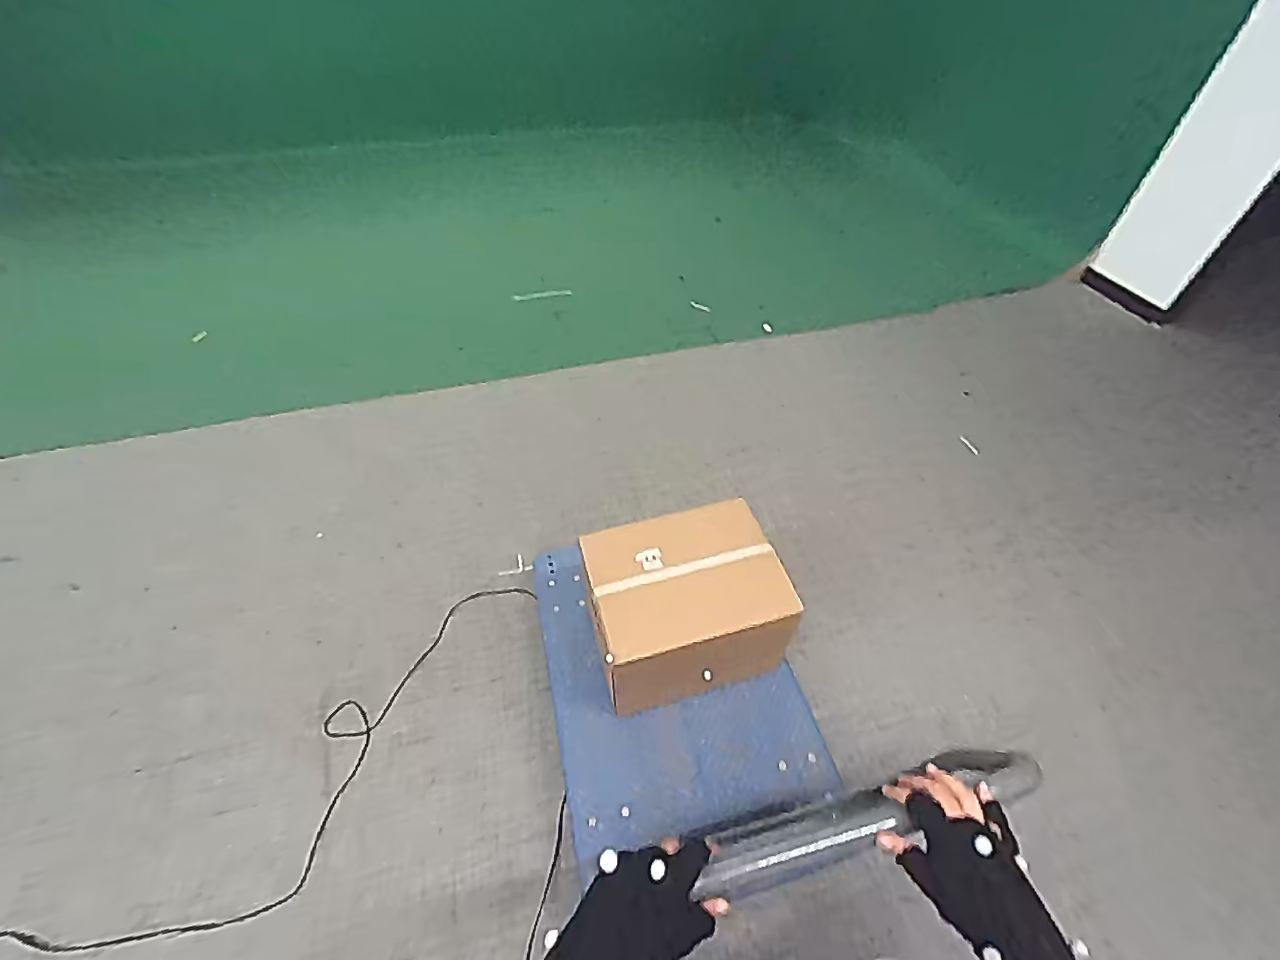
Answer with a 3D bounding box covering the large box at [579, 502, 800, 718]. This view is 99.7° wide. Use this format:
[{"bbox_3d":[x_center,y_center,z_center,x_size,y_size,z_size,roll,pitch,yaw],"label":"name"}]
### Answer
[{"bbox_3d":[0.099,0.303,1.264,0.408,0.320,0.320,-13,49,-10],"label":"large box"}]
